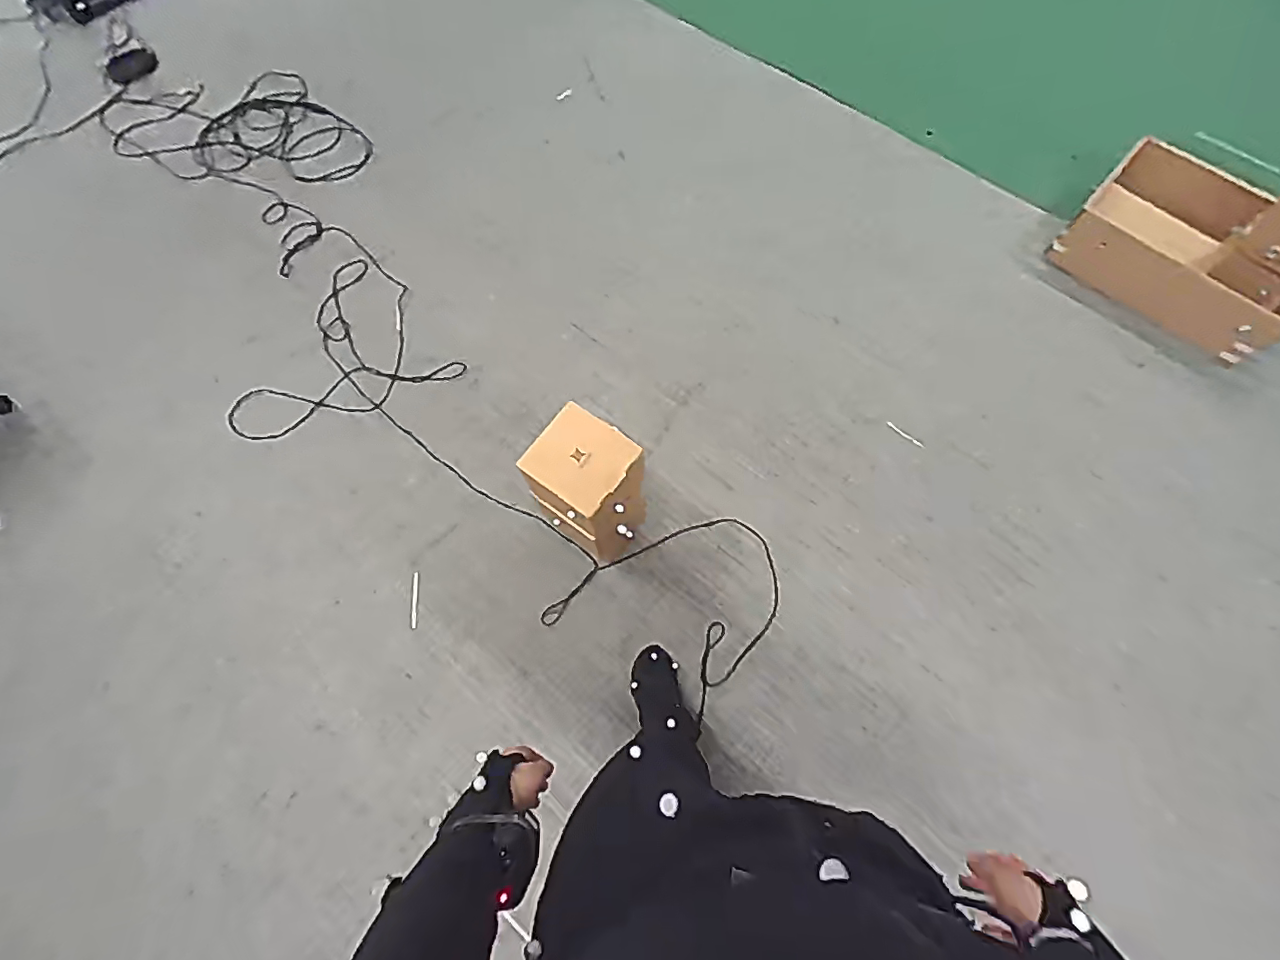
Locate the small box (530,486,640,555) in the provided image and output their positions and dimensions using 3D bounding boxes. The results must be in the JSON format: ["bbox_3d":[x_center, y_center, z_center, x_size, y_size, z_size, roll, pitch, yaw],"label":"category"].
[{"bbox_3d":[-0.116,0.048,1.216,0.179,0.176,0.168,35,75,12],"label":"small box"}]

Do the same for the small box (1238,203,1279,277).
[{"bbox_3d":[1.708,-0.648,1.372,0.168,0.176,0.179,43,78,16],"label":"small box"}]

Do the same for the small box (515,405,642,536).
[{"bbox_3d":[-0.112,-0.010,1.064,0.179,0.176,0.168,34,74,12],"label":"small box"}]

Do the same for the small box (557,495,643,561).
[{"bbox_3d":[-0.105,0.089,1.374,0.179,0.176,0.168,31,73,12],"label":"small box"}]
